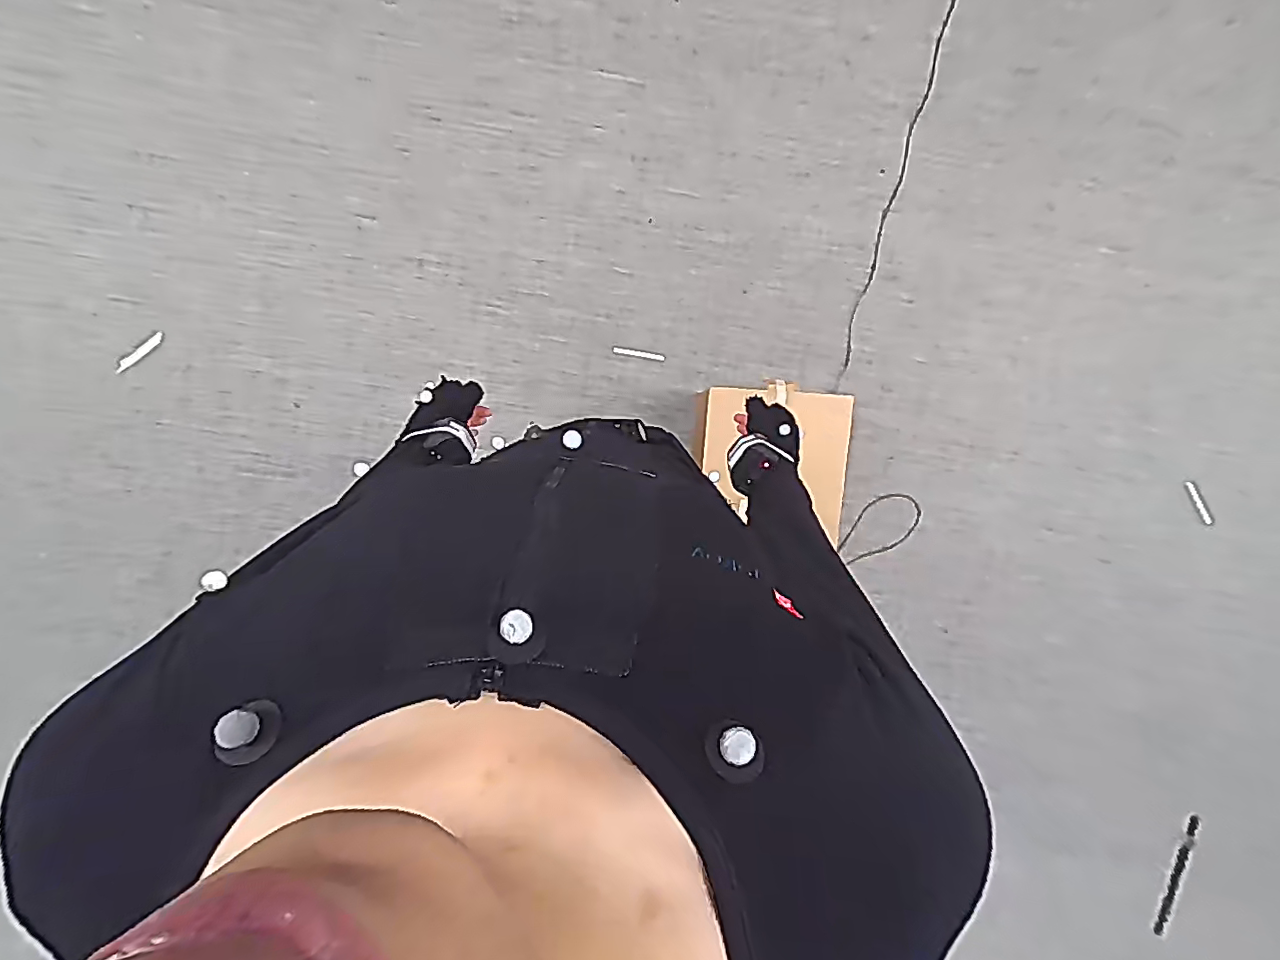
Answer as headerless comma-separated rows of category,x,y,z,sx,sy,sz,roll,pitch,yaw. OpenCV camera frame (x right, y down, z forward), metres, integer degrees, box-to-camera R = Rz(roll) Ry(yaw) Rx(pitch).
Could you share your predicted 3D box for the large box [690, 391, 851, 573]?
large box,0.300,-0.013,1.352,0.320,0.320,0.408,4,98,1
